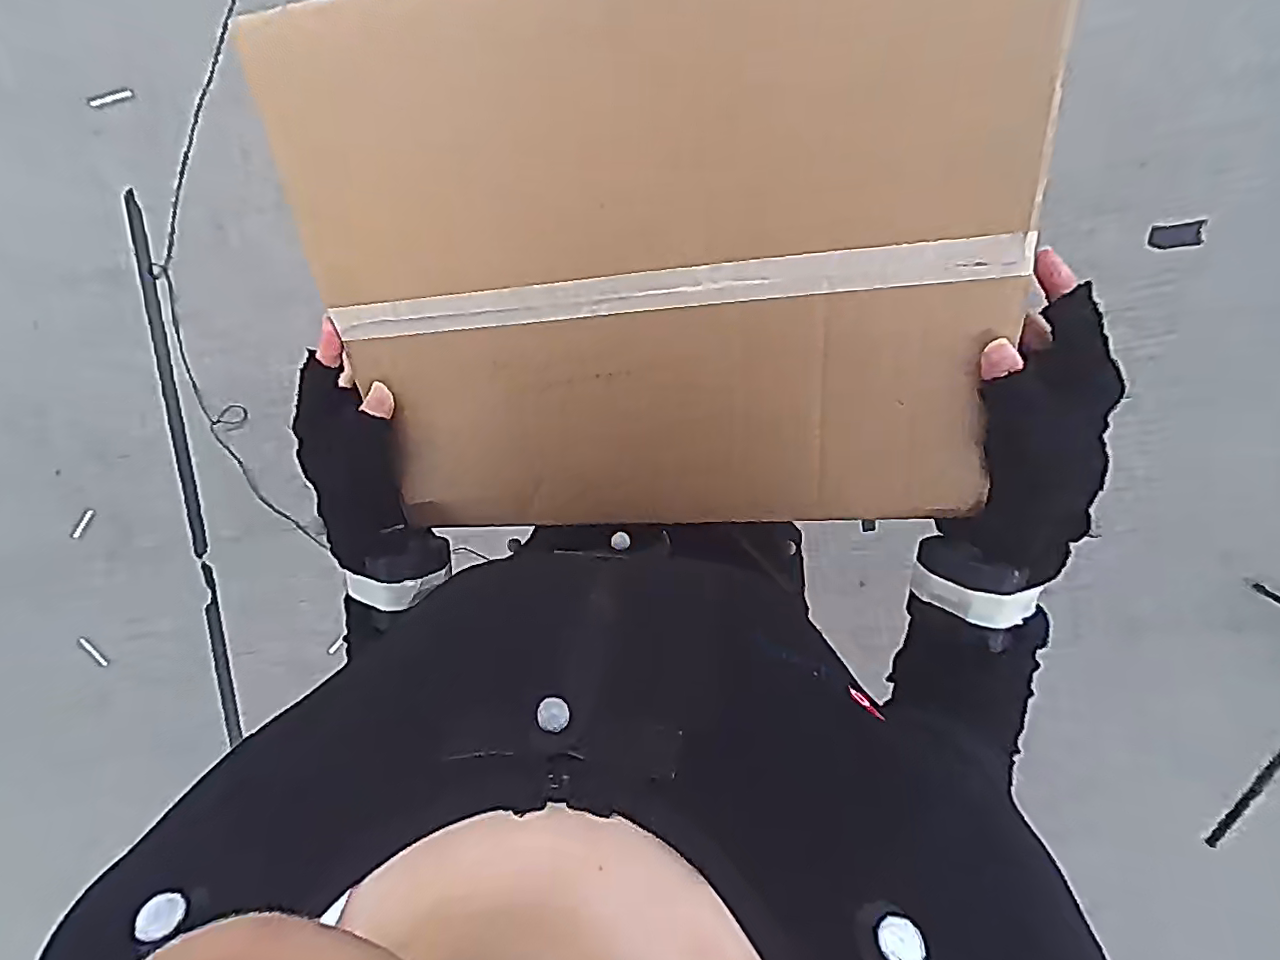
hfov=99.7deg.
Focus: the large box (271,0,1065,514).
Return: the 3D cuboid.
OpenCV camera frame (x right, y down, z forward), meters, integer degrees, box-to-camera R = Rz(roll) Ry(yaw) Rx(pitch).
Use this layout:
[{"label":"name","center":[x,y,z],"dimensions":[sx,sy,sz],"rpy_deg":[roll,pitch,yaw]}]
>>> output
[{"label":"large box","center":[0.027,-0.182,0.454],"dimensions":[0.408,0.320,0.320],"rpy_deg":[-1,118,10]}]
